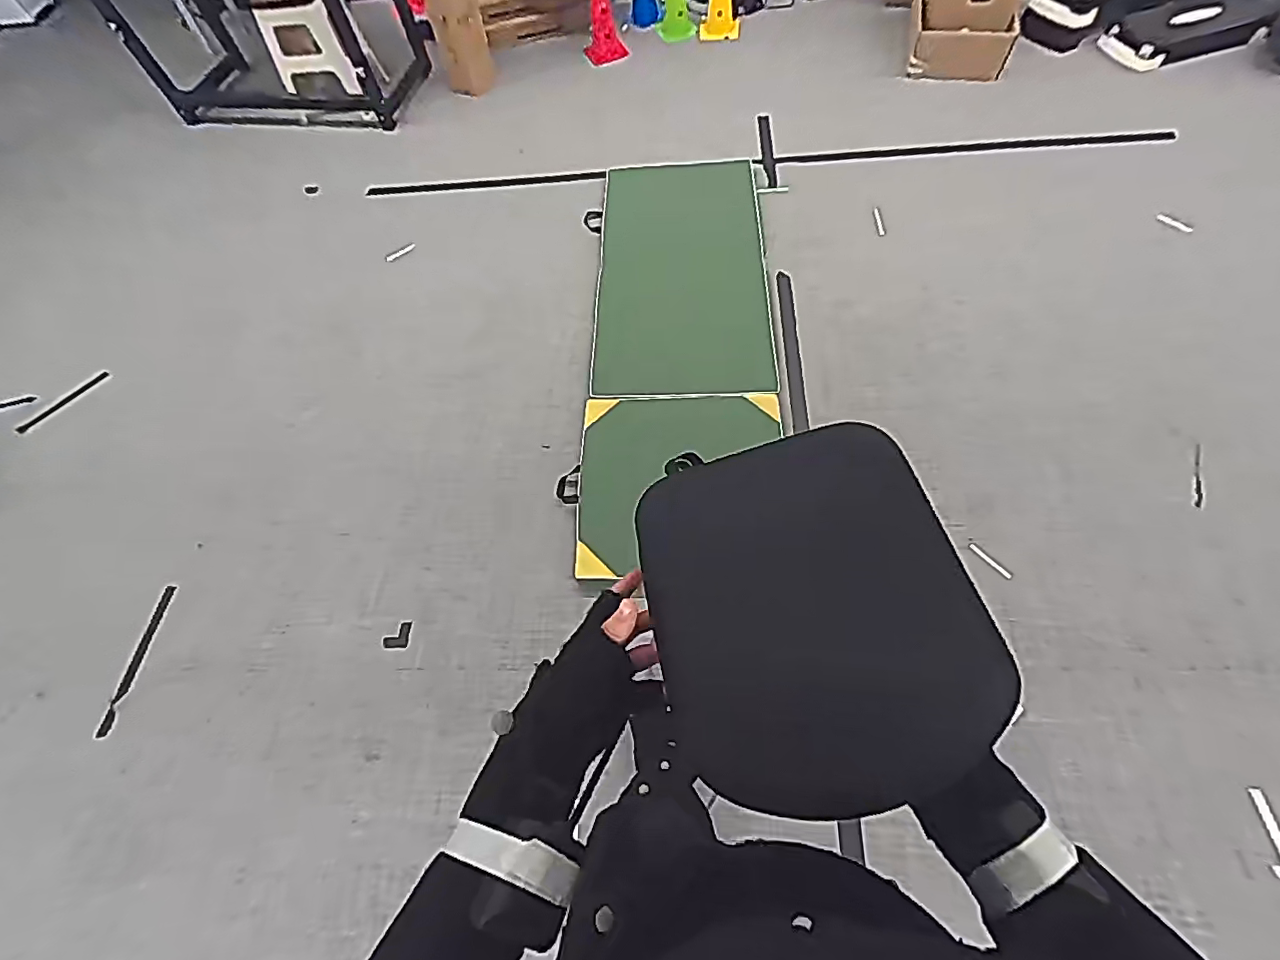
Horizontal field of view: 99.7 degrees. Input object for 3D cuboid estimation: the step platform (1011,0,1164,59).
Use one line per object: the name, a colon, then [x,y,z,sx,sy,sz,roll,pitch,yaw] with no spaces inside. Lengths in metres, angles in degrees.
step platform: [2.122,-2.227,2.523,0.684,0.204,0.286,-27,63,-9]
